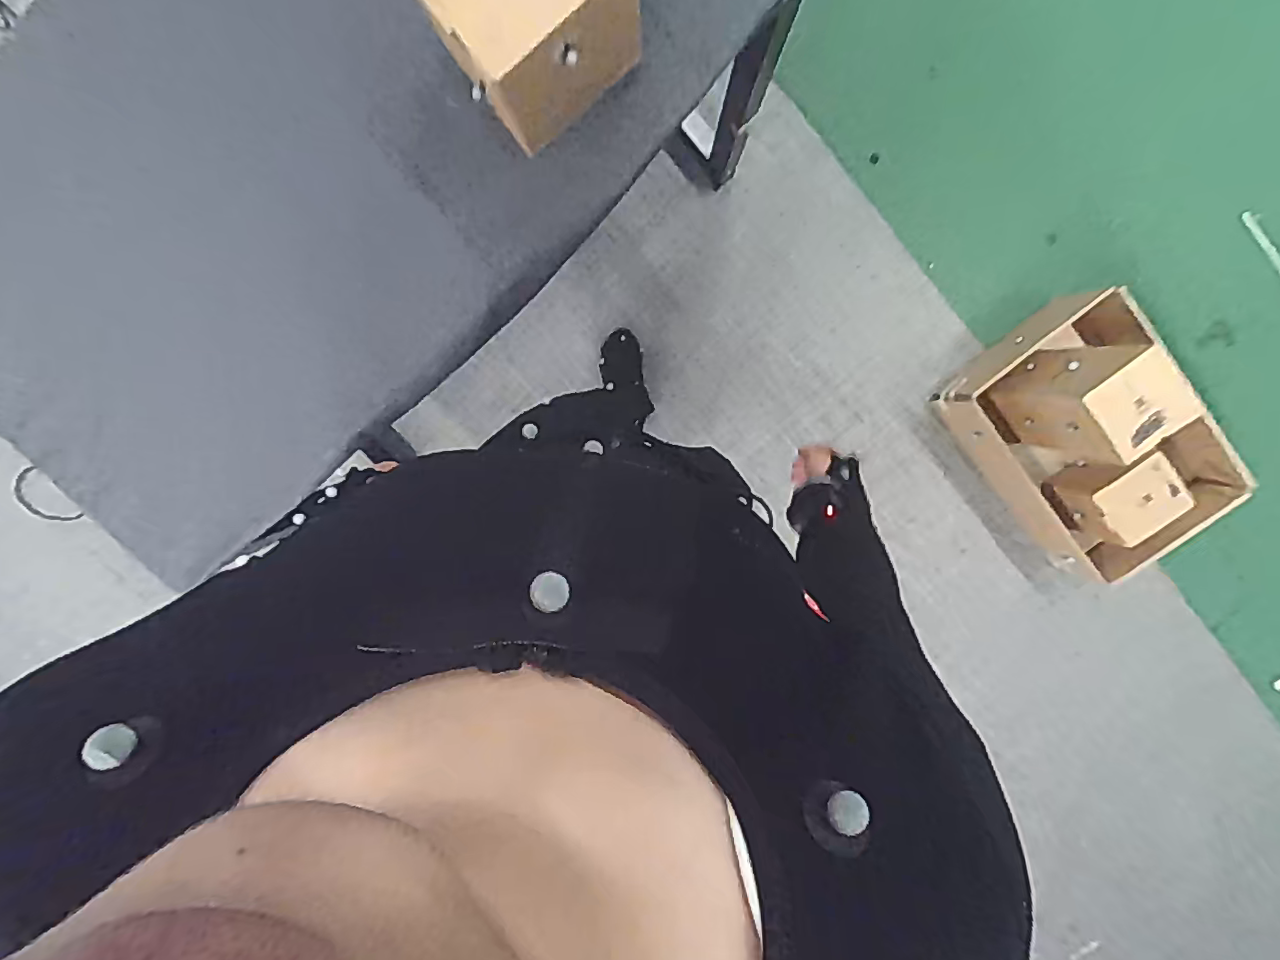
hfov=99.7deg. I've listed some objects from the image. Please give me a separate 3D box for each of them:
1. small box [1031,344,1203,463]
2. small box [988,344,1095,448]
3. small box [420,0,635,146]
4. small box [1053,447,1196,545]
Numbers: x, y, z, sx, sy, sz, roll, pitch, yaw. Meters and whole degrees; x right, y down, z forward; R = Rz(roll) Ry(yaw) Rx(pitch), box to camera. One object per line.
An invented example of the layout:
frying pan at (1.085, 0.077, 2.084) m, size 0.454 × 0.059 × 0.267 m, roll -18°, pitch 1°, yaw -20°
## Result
small box at (0.972, -0.163, 1.118) m, size 0.168 × 0.176 × 0.179 m, roll -39°, pitch 98°, yaw 8°
small box at (0.978, -0.199, 1.278) m, size 0.168 × 0.176 × 0.179 m, roll -40°, pitch 99°, yaw 9°
small box at (-0.117, -0.491, 0.550) m, size 0.179 × 0.176 × 0.168 m, roll -38°, pitch 98°, yaw 7°
small box at (1.165, 0.025, 1.321) m, size 0.179 × 0.176 × 0.168 m, roll -38°, pitch 98°, yaw 10°
